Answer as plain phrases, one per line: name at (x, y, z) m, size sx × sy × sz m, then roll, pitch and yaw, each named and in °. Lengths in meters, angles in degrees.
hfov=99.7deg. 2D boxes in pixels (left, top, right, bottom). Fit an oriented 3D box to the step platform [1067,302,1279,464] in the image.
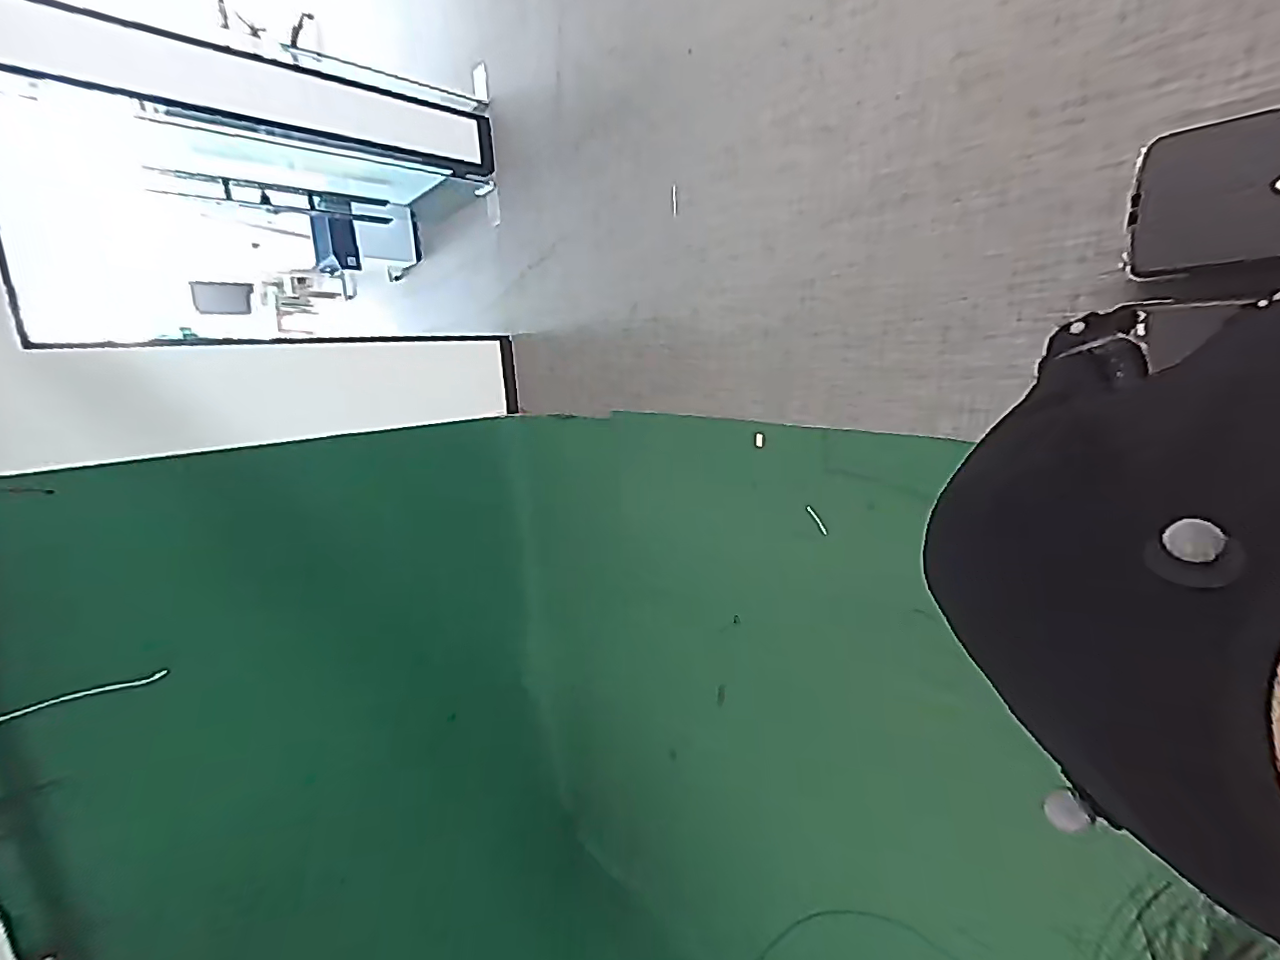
step platform at (1.132, -0.151, 0.863) m, size 0.684 × 0.204 × 0.286 m, roll 11°, pitch 108°, yaw 46°
